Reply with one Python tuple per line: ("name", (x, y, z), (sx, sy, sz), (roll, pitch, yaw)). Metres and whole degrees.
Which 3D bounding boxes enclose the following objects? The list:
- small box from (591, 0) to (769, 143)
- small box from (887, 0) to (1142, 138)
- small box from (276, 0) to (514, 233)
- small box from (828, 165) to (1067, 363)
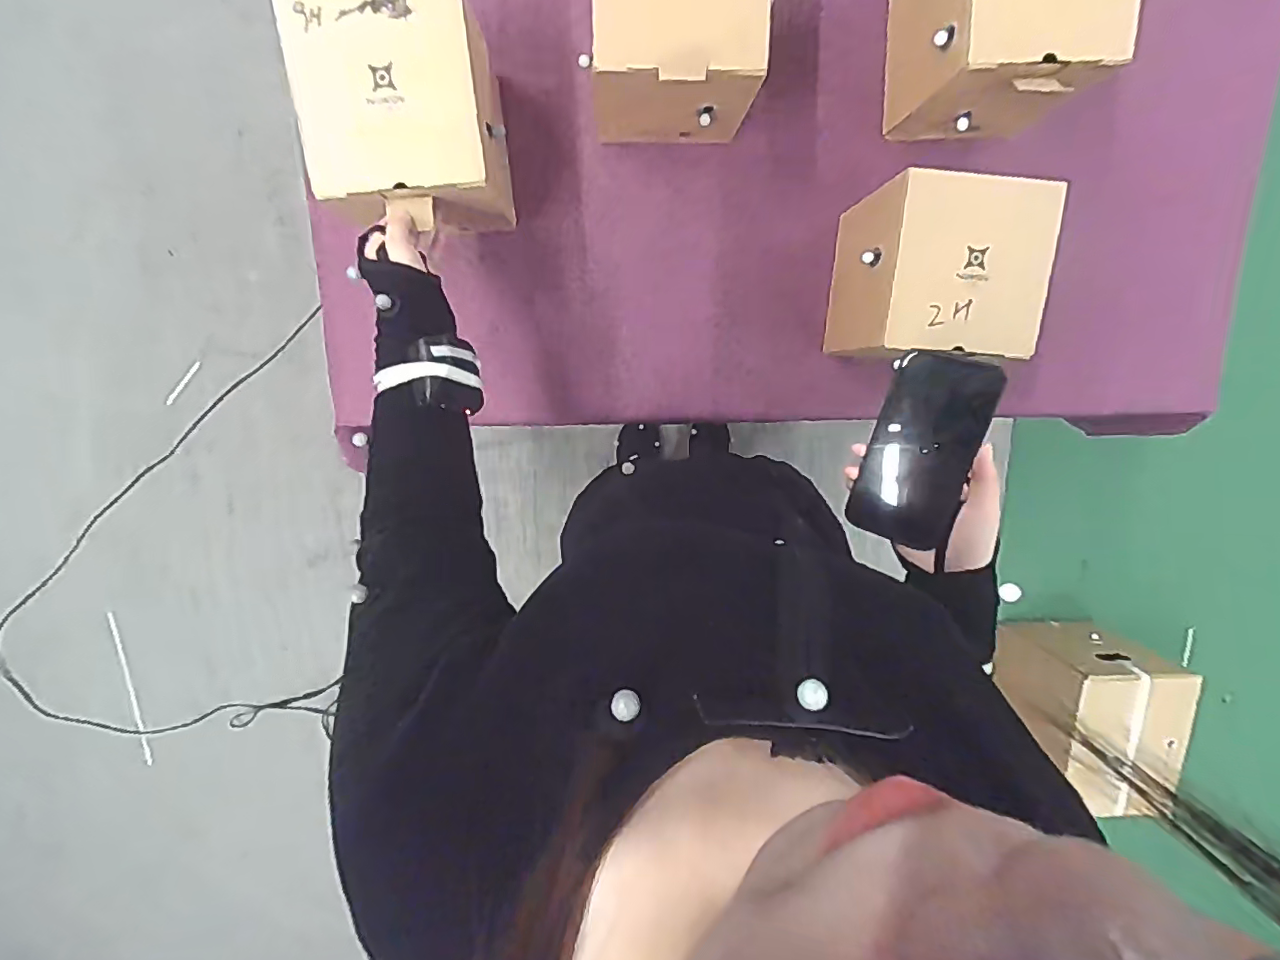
("small box", (0.034, -0.477, 0.566), (0.168, 0.176, 0.179), (-1, 101, -3))
("small box", (0.383, -0.496, 0.576), (0.168, 0.176, 0.179), (-3, 102, -1))
("small box", (-0.237, -0.372, 0.574), (0.168, 0.176, 0.179), (-6, 102, -2))
("small box", (0.334, -0.232, 0.625), (0.168, 0.176, 0.179), (4, 101, -2))
